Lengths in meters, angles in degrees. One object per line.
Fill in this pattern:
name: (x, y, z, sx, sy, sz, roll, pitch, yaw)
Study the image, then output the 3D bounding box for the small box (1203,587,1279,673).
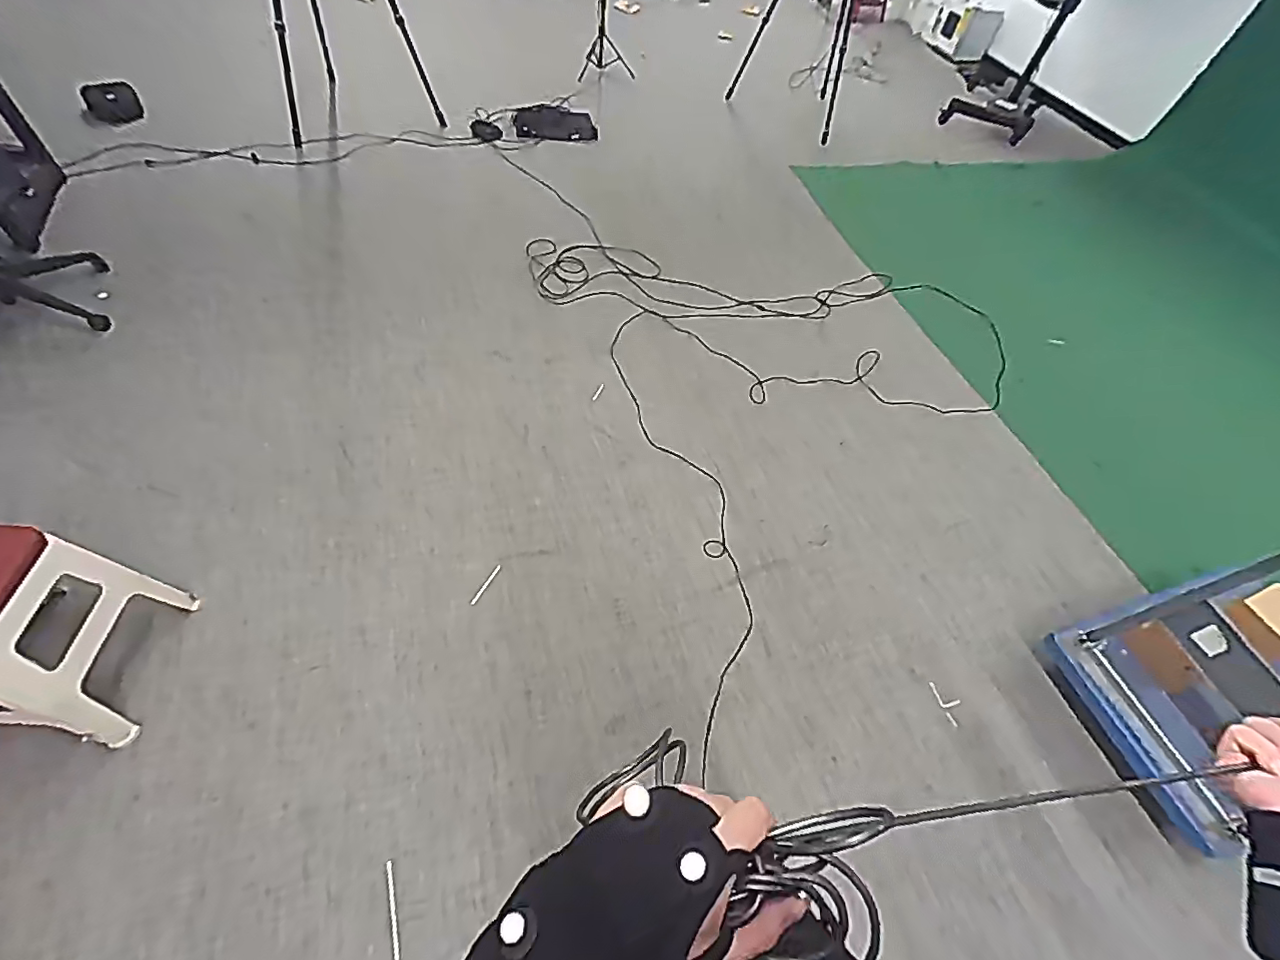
small box: (1.791, 0.429, 1.545, 0.179, 0.176, 0.168, -15, 59, -17)

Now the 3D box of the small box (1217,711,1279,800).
small box: (1.631, 0.679, 1.349, 0.179, 0.176, 0.168, -12, 57, -14)
